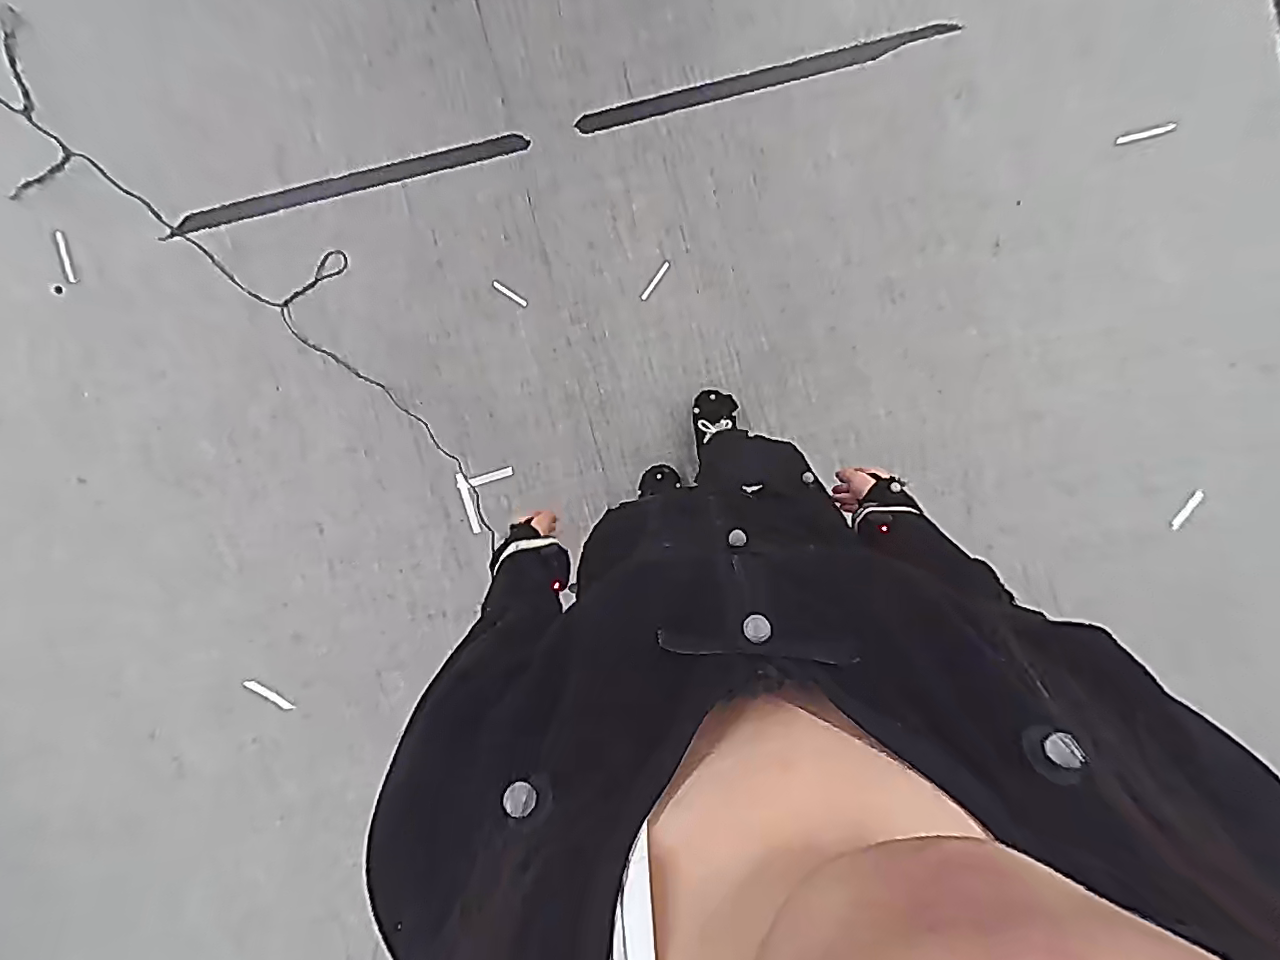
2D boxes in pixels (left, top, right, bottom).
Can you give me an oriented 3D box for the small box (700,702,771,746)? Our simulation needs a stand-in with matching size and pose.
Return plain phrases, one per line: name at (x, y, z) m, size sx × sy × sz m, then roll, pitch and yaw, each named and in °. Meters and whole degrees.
small box at (0.264, 0.721, 1.449) m, size 0.168 × 0.176 × 0.179 m, roll -16°, pitch 93°, yaw 2°
